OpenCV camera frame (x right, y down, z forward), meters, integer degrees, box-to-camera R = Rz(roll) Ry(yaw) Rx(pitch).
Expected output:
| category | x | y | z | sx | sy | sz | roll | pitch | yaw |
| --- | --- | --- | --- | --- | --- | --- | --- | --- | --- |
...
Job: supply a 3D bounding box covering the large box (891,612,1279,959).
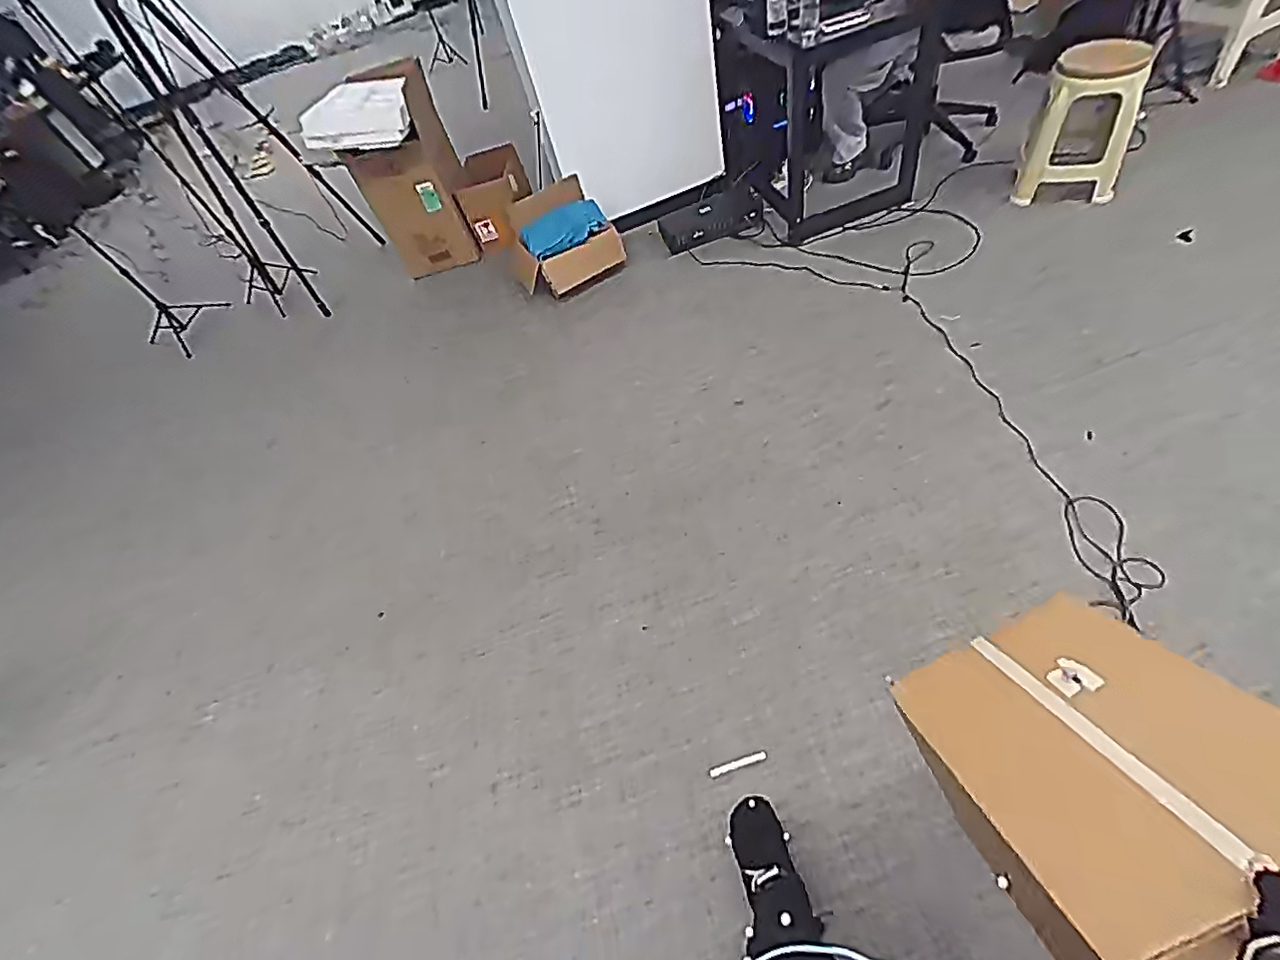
| category | x | y | z | sx | sy | sz | roll | pitch | yaw |
| --- | --- | --- | --- | --- | --- | --- | --- | --- | --- |
| large box | 0.618 | 0.448 | 0.696 | 0.320 | 0.320 | 0.408 | -28 | 13 | 3 |
